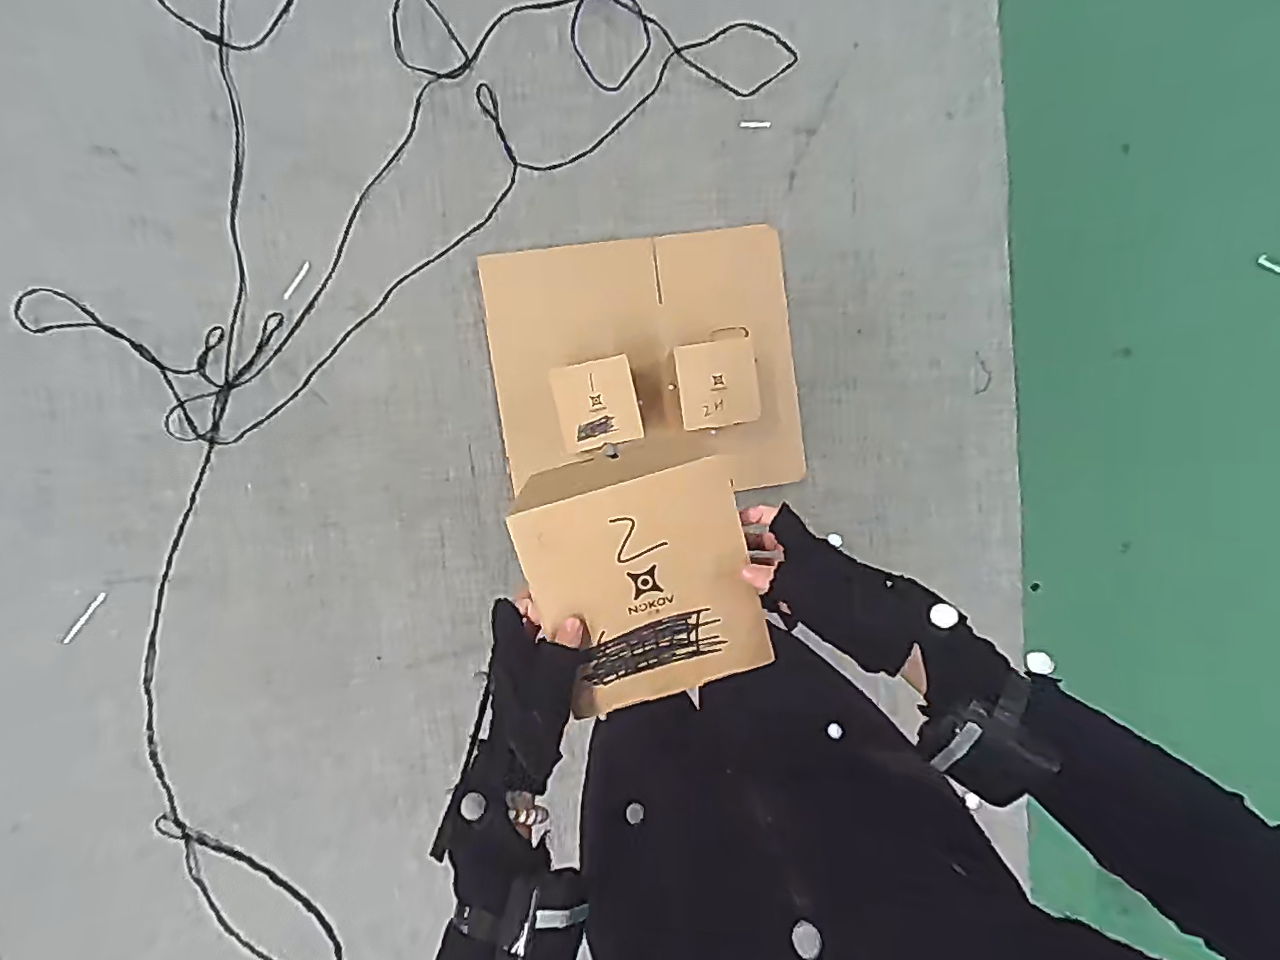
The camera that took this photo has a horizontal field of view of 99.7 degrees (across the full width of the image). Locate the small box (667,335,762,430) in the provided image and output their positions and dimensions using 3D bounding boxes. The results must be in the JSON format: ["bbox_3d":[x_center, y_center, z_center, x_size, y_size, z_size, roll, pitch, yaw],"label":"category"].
[{"bbox_3d":[0.157,-0.207,1.185,0.168,0.176,0.179,-8,95,-2],"label":"small box"}]

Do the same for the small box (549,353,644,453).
[{"bbox_3d":[-0.091,-0.161,1.169,0.168,0.176,0.179,-13,94,-3],"label":"small box"}]
